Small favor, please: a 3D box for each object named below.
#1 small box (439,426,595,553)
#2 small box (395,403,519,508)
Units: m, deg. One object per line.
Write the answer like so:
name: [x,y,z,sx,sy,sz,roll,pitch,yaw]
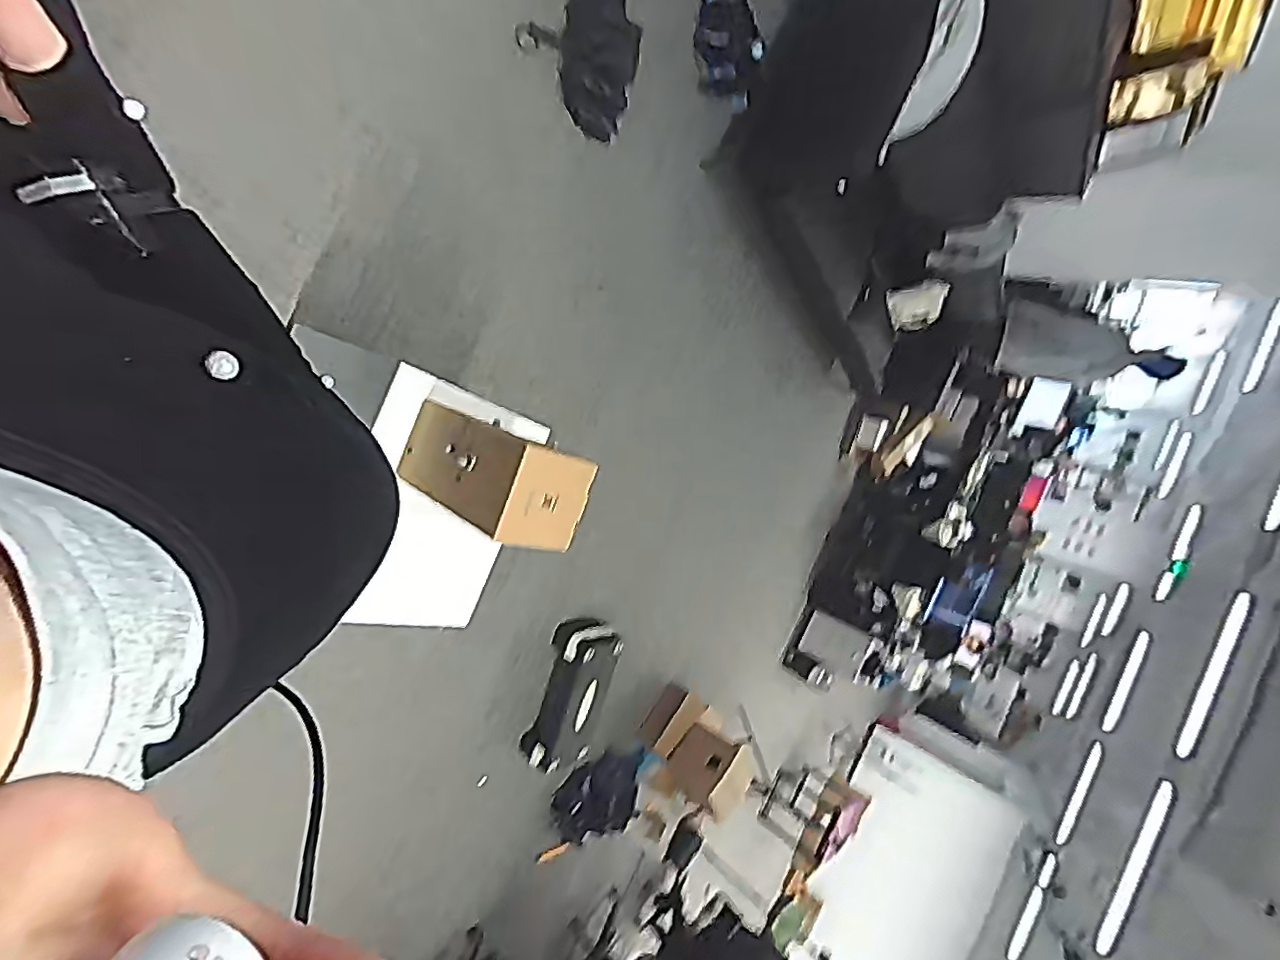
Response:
small box: [-0.217,0.017,0.952,0.179,0.176,0.168,17,95,-52]
small box: [-0.335,-0.036,1.051,0.179,0.176,0.168,21,93,-54]
